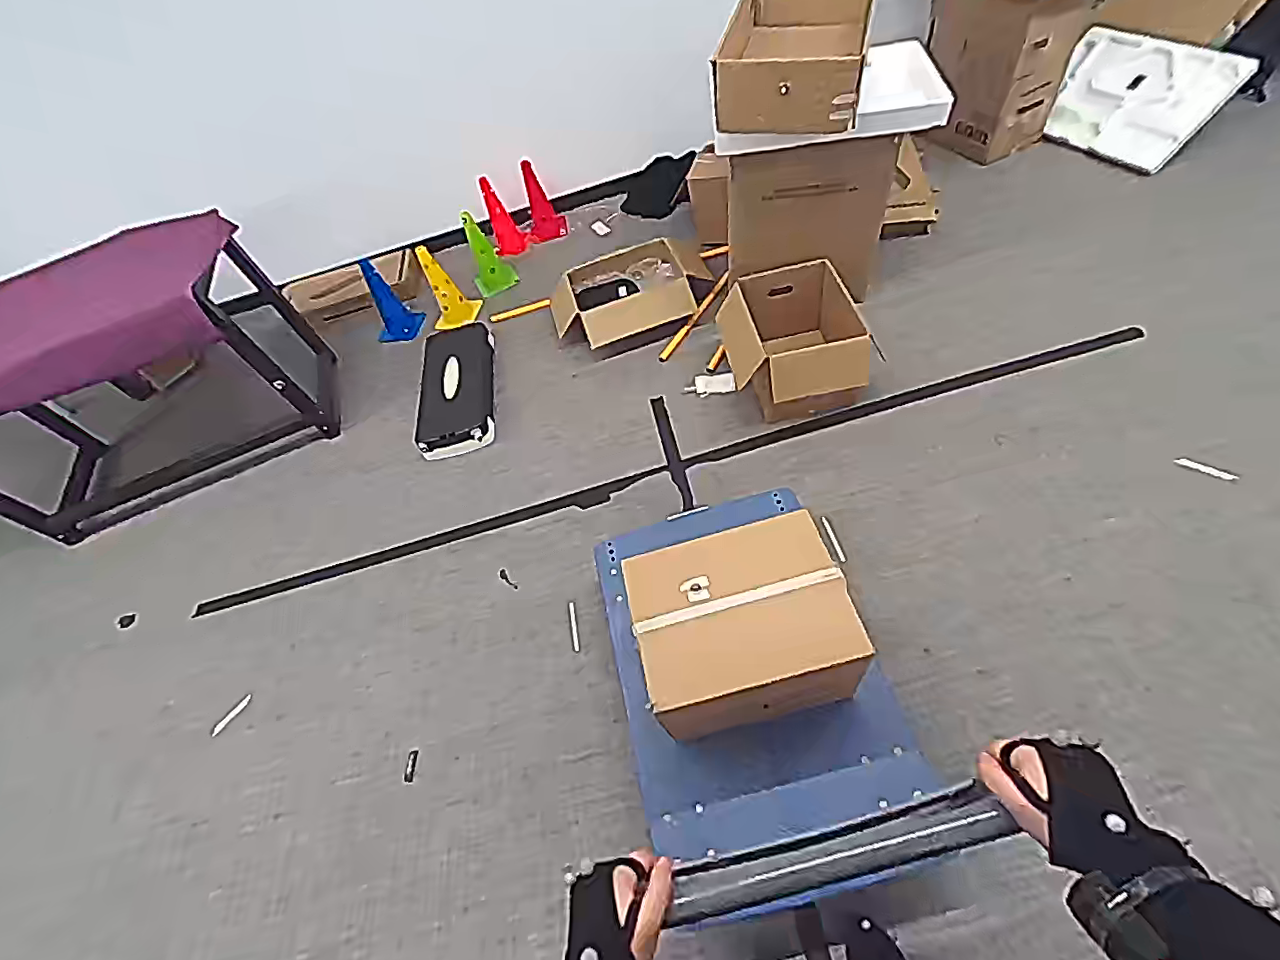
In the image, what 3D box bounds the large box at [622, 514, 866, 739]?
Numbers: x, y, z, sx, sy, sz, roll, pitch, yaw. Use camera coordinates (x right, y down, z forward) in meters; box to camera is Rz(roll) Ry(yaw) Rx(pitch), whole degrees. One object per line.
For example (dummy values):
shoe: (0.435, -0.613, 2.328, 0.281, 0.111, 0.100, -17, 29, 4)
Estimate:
large box: (0.213, 0.326, 1.168, 0.408, 0.320, 0.320, -17, 53, 3)
